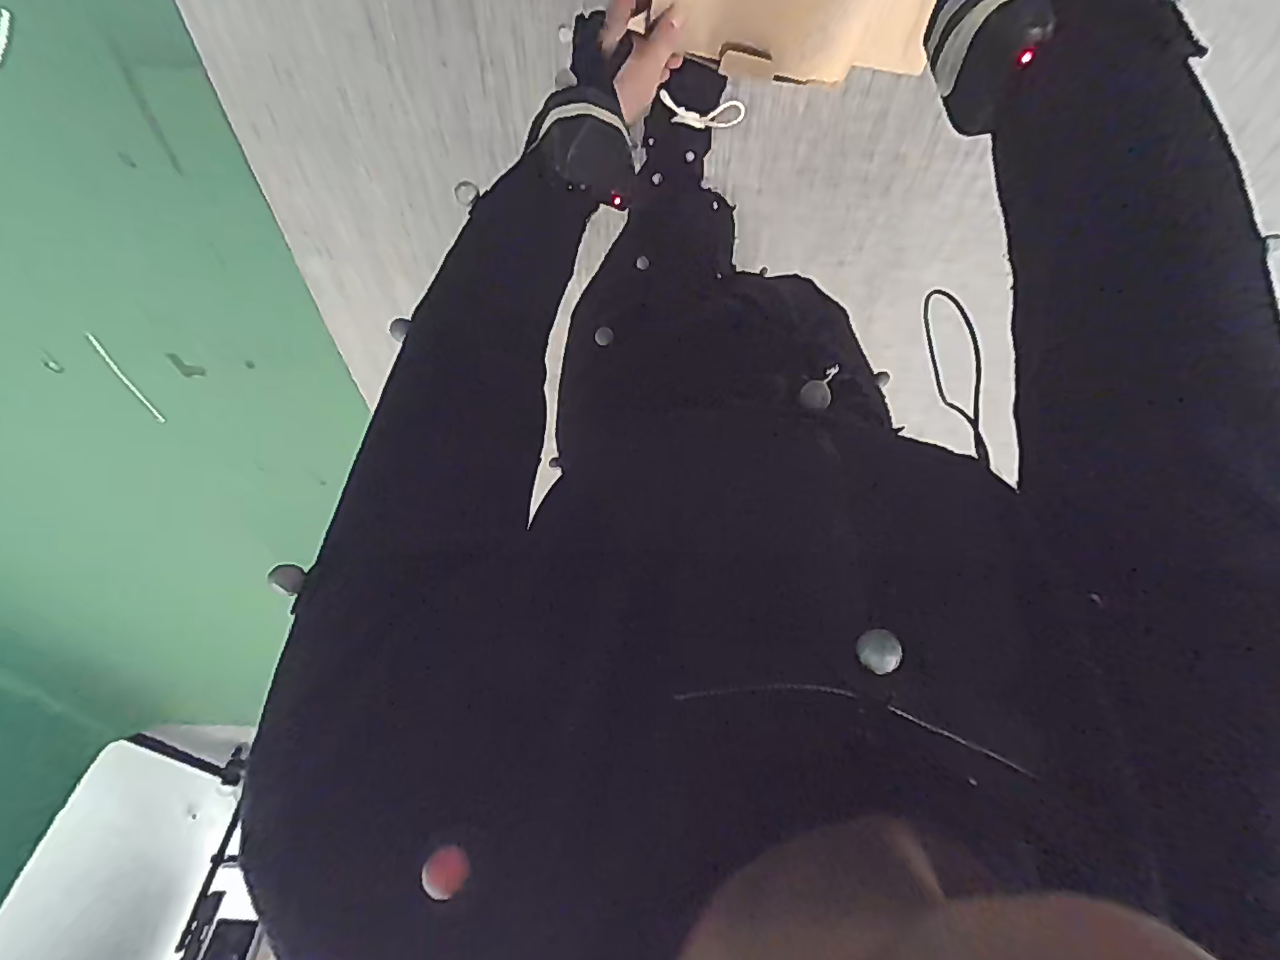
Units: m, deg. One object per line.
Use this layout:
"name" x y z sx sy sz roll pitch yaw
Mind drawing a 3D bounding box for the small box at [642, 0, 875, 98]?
"small box" 0.098 -0.438 0.421 0.168 0.176 0.179 6 137 -8
